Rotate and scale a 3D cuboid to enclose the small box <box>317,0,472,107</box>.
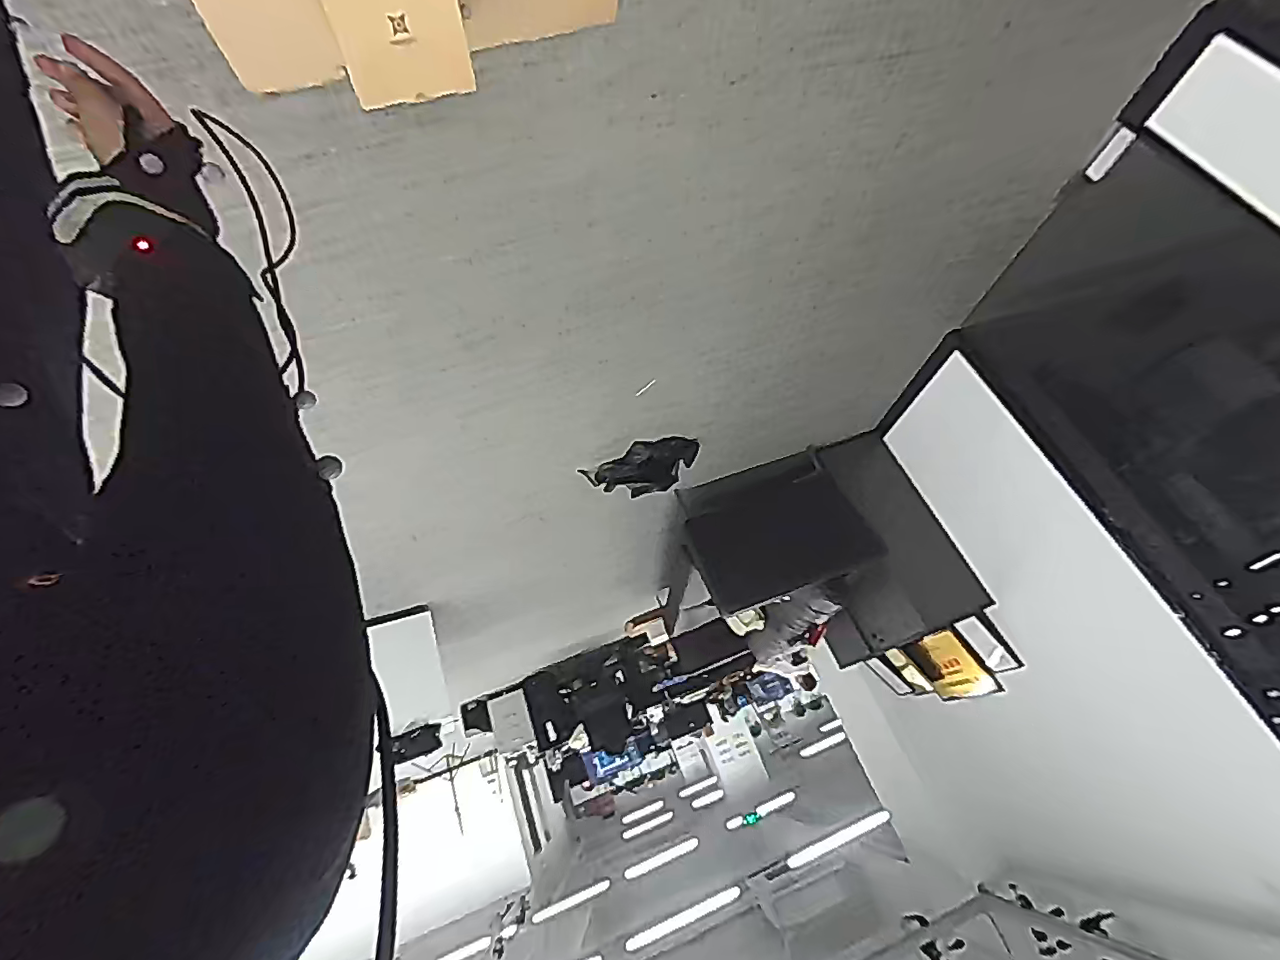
[{"bbox_3d":[-0.345,-0.652,0.727,0.168,0.176,0.179,-19,156,-11],"label":"small box"}]
